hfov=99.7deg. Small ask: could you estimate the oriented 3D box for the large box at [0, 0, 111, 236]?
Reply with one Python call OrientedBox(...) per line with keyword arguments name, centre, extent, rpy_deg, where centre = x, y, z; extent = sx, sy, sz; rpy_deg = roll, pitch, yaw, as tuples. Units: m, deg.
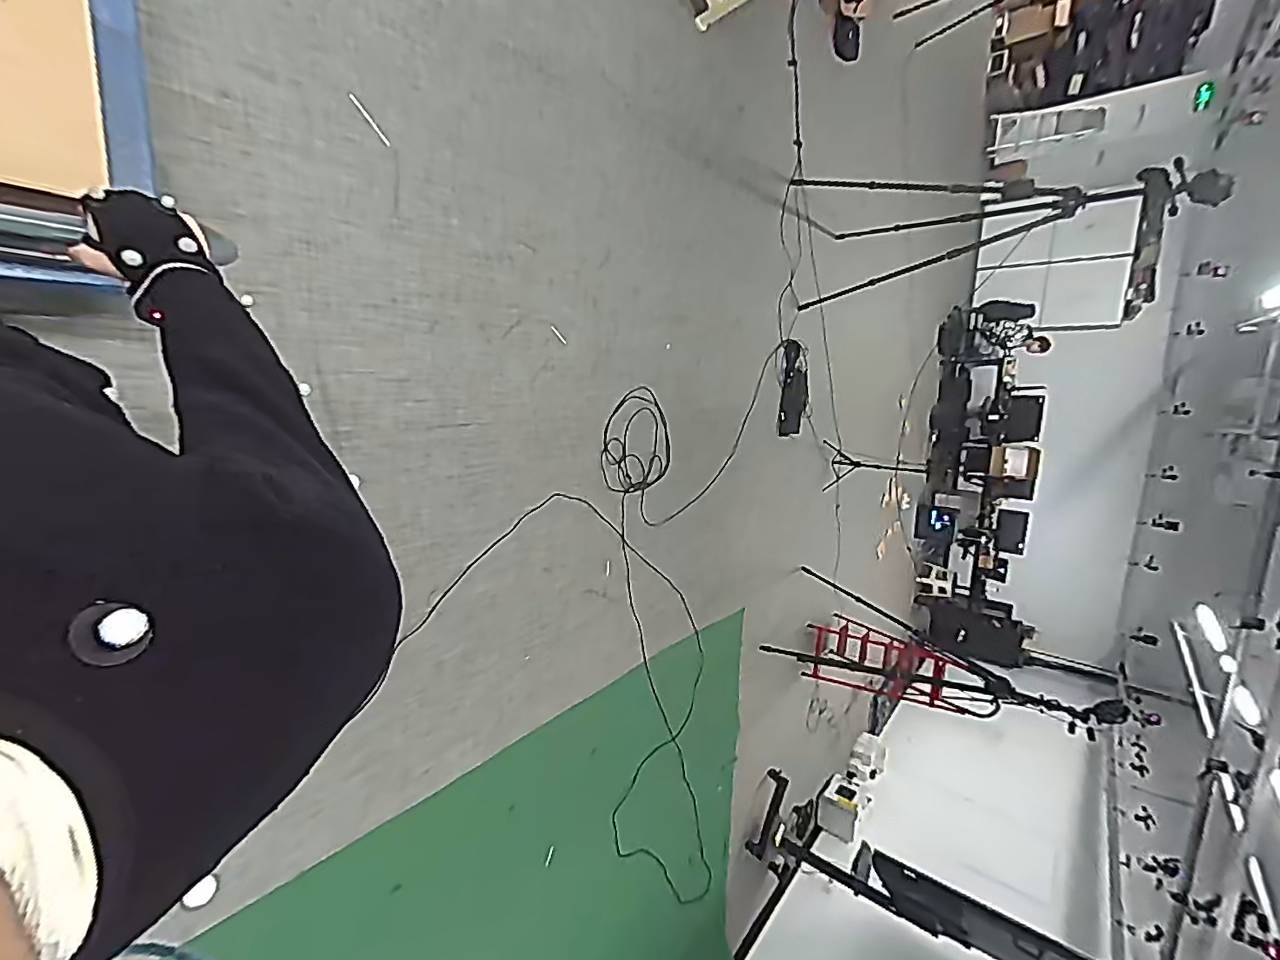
OrientedBox(name="large box", centre=(-1.026, -0.615, 0.779), extent=(0.320, 0.320, 0.408), rpy_deg=(-11, 104, -50))
